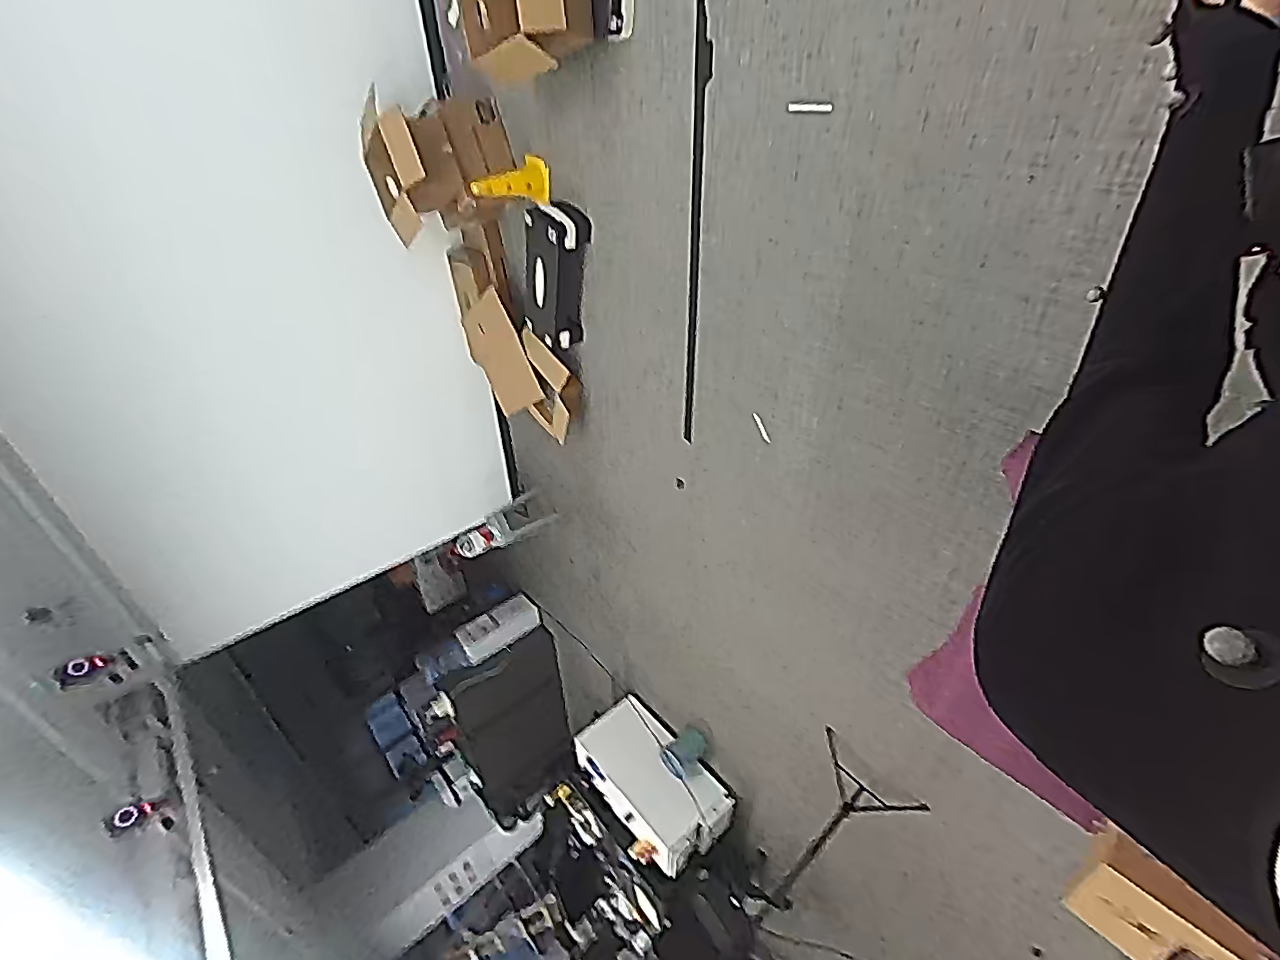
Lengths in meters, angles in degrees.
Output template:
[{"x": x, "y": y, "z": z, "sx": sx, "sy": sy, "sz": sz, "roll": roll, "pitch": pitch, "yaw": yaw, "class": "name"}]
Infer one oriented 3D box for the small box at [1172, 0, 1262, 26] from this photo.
[{"x": 0.513, "y": -0.511, "z": 0.423, "sx": 0.168, "sy": 0.176, "sz": 0.179, "roll": -26, "pitch": 84, "yaw": 46, "class": "small box"}]
